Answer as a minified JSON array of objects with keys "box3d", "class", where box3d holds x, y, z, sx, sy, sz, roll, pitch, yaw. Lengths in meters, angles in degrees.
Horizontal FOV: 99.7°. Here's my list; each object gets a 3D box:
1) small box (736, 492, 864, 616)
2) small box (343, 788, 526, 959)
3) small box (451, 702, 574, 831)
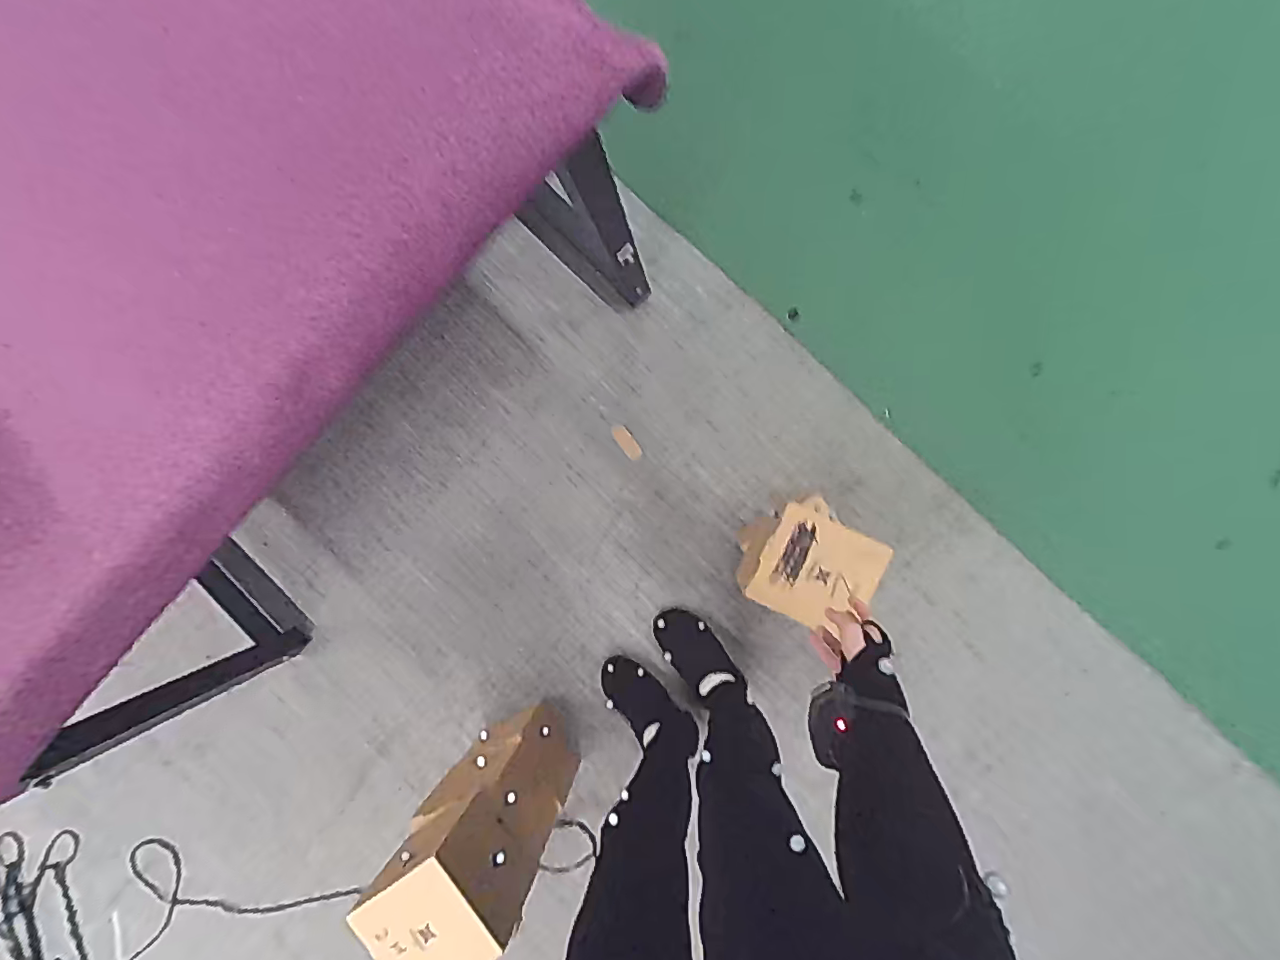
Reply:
[{"box3d":[0.305,0.138,1.073,0.179,0.176,0.168,-35,89,7],"class":"small box"},{"box3d":[-0.297,0.621,0.830,0.179,0.176,0.168,-36,87,8],"class":"small box"},{"box3d":[-0.264,0.604,1.155,0.168,0.176,0.179,-29,90,7],"class":"small box"}]
